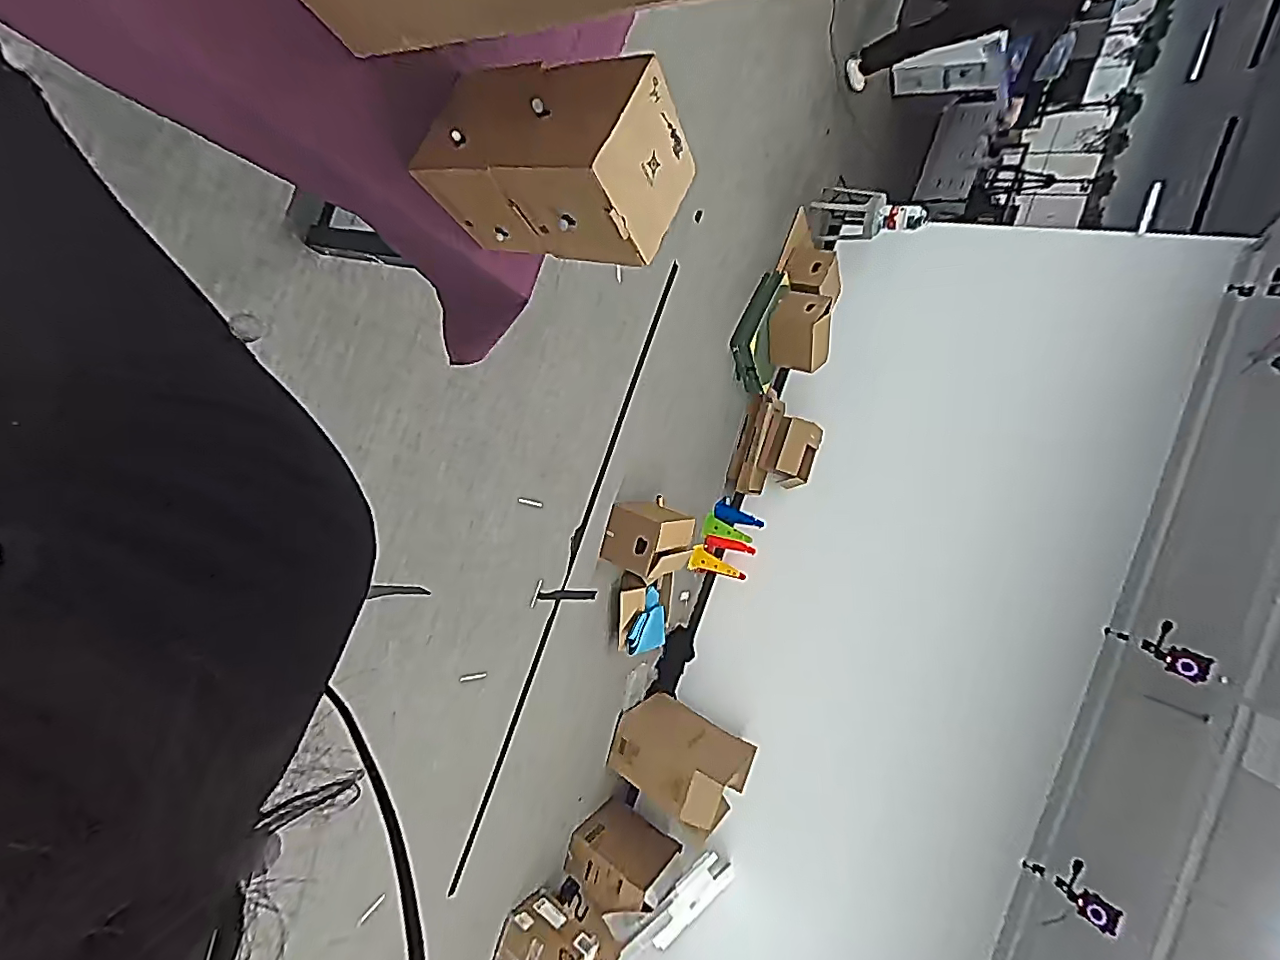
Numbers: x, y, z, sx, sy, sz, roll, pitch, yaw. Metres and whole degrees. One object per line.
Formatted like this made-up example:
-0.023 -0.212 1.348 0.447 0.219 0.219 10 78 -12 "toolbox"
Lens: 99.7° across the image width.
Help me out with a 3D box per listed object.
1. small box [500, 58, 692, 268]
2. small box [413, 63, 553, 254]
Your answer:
-0.060 -0.417 0.726 0.179 0.176 0.168 -64 151 -11 "small box"
-0.200 -0.464 0.799 0.168 0.176 0.179 38 72 -60 "small box"
